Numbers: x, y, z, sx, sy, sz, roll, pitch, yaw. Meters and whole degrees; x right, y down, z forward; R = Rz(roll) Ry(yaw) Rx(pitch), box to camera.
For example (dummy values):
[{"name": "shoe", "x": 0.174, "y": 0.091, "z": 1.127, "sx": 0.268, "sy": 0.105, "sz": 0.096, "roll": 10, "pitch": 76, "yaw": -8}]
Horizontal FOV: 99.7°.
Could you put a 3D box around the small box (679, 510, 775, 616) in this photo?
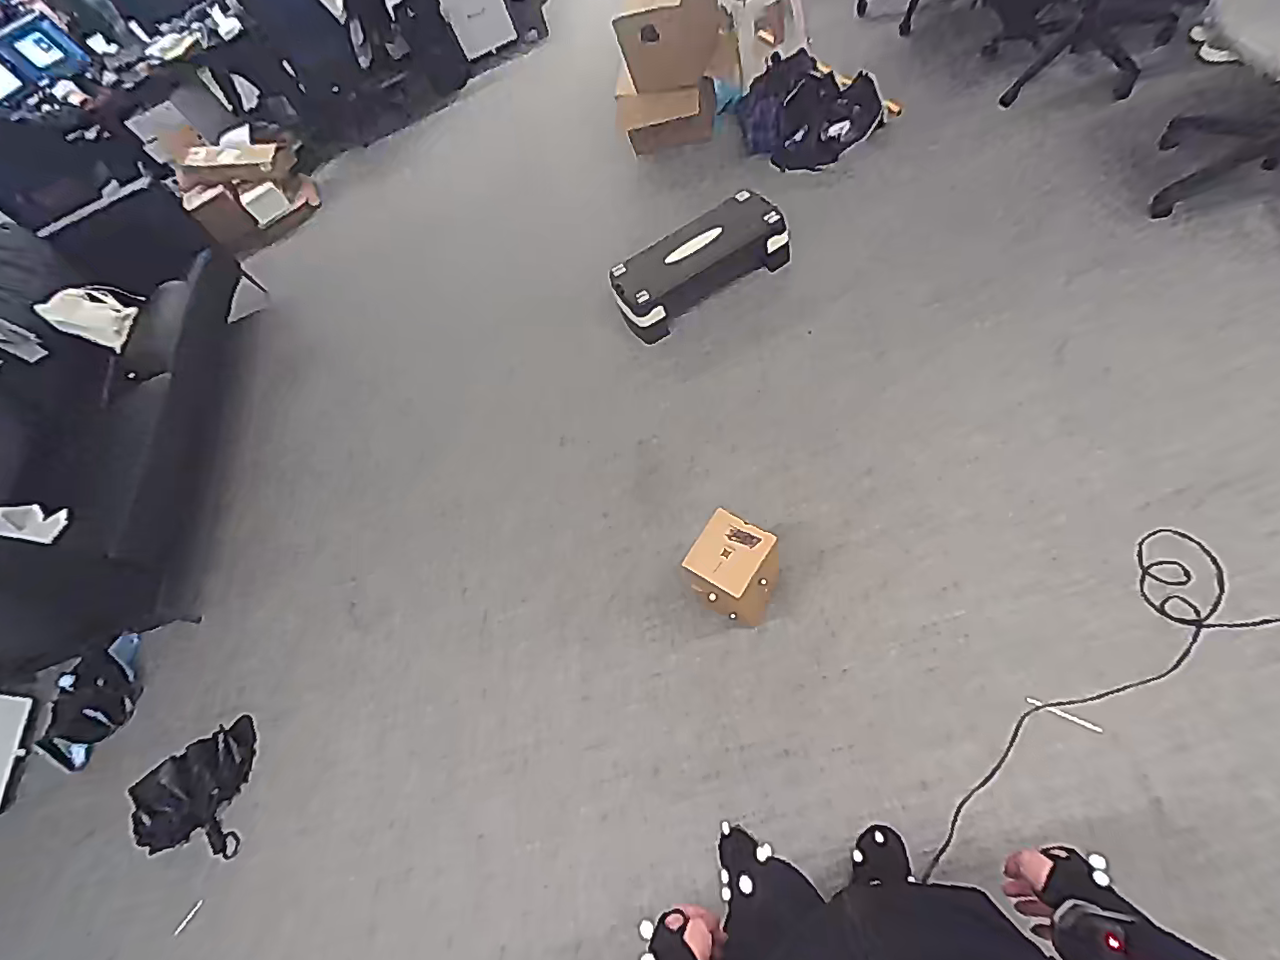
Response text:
[{"name": "small box", "x": 0.225, "y": 0.211, "z": 1.356, "sx": 0.168, "sy": 0.176, "sz": 0.179, "roll": 28, "pitch": 74, "yaw": 29}]

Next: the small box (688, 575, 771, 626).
[{"name": "small box", "x": 0.257, "y": 0.281, "z": 1.503, "sx": 0.168, "sy": 0.176, "sz": 0.179, "roll": 20, "pitch": 68, "yaw": 26}]
